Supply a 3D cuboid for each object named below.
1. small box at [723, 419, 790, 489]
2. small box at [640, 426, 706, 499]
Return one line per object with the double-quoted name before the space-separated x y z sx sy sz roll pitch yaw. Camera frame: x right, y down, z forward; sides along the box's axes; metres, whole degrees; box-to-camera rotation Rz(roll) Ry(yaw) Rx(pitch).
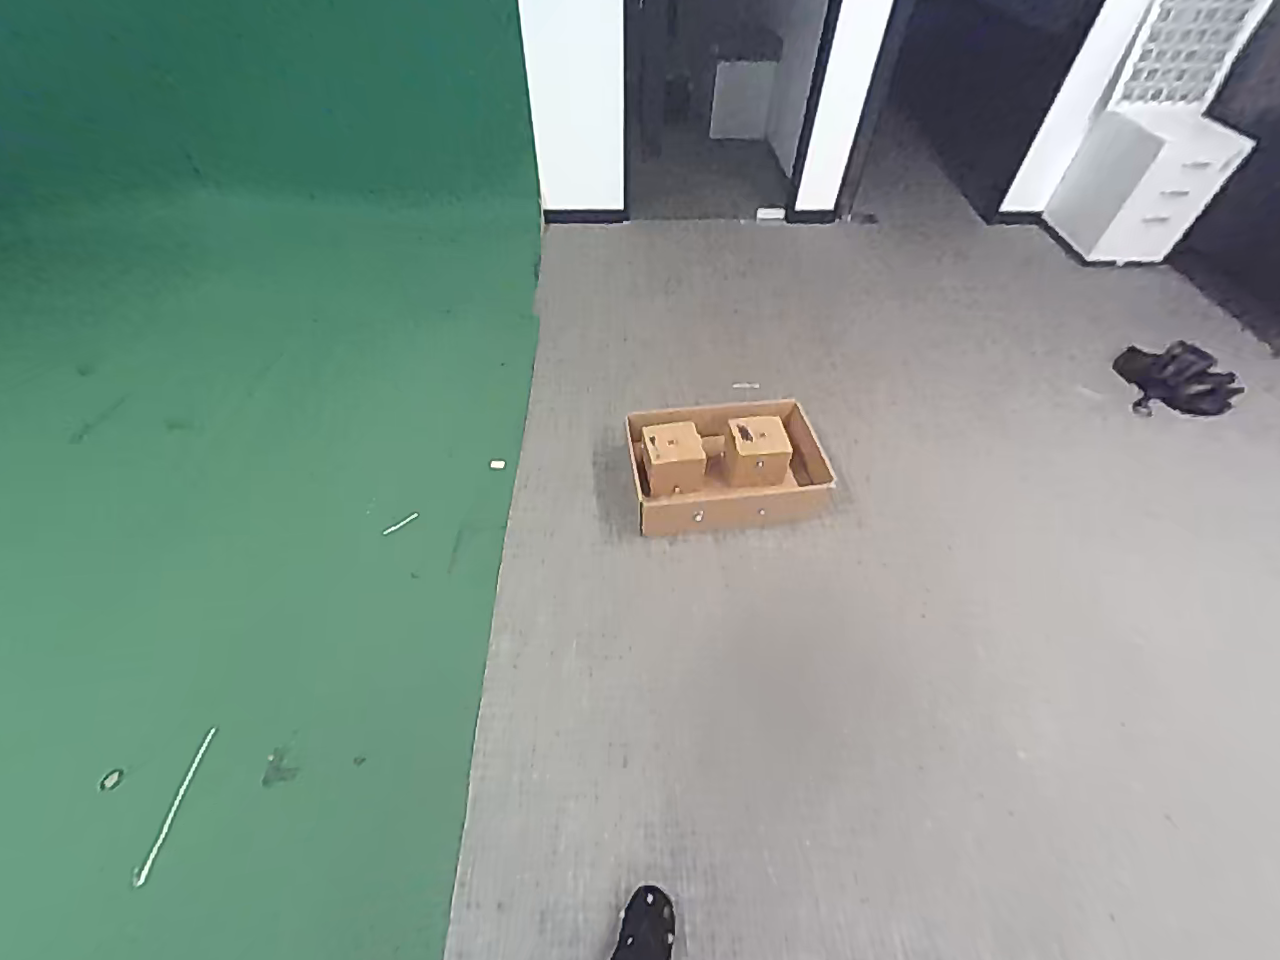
"small box" 0.379 -0.084 1.803 0.179 0.176 0.168 -5 50 -4
"small box" 0.101 -0.056 1.772 0.179 0.176 0.168 -7 50 -9
